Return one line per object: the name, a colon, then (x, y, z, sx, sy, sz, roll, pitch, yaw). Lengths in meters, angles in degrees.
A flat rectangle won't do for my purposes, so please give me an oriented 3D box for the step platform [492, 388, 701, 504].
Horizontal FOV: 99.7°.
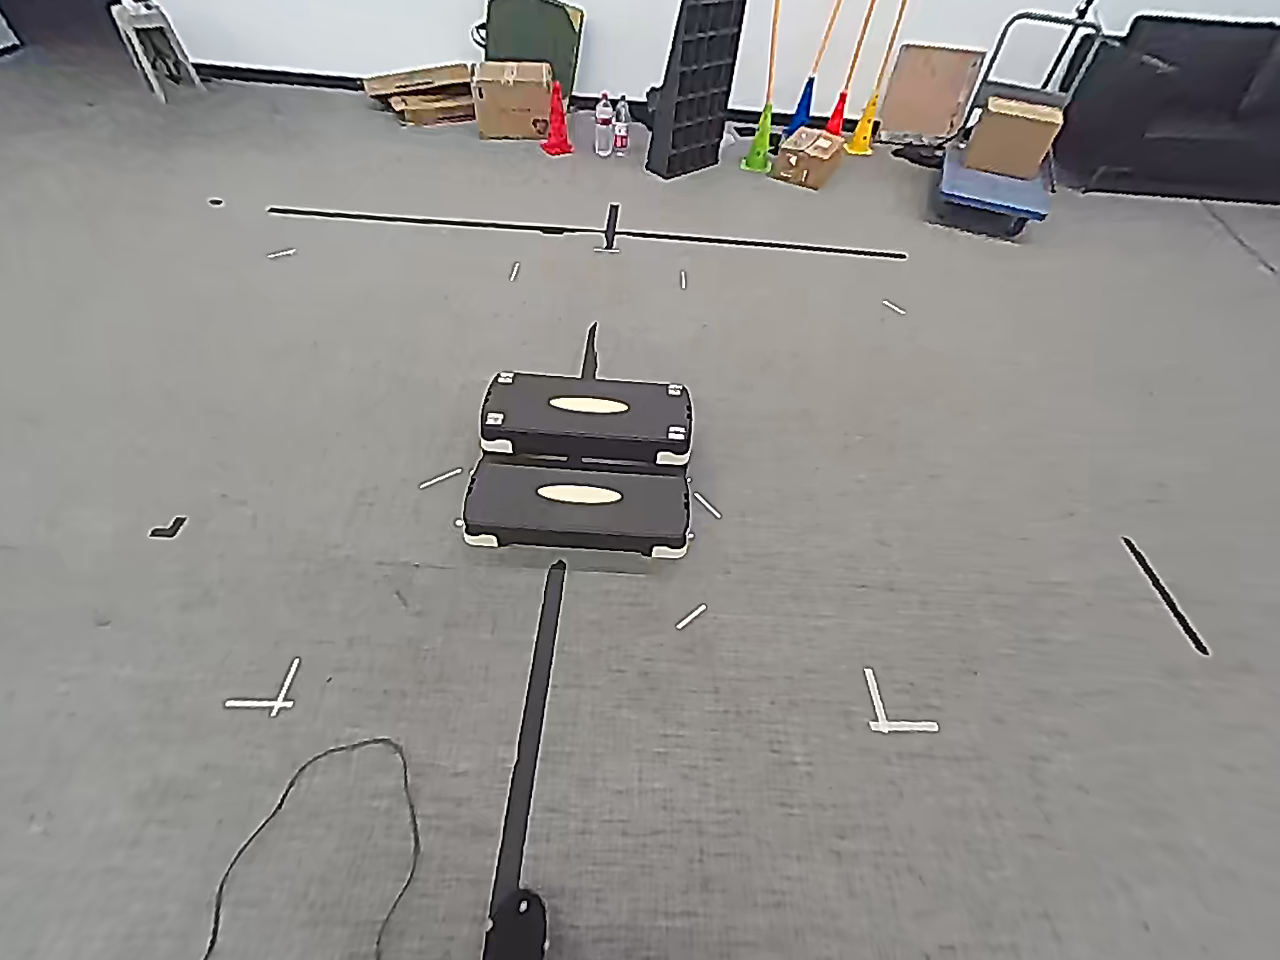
step platform: (-0.138, -0.120, 1.810, 0.684, 0.204, 0.286, 8, 49, 1)
